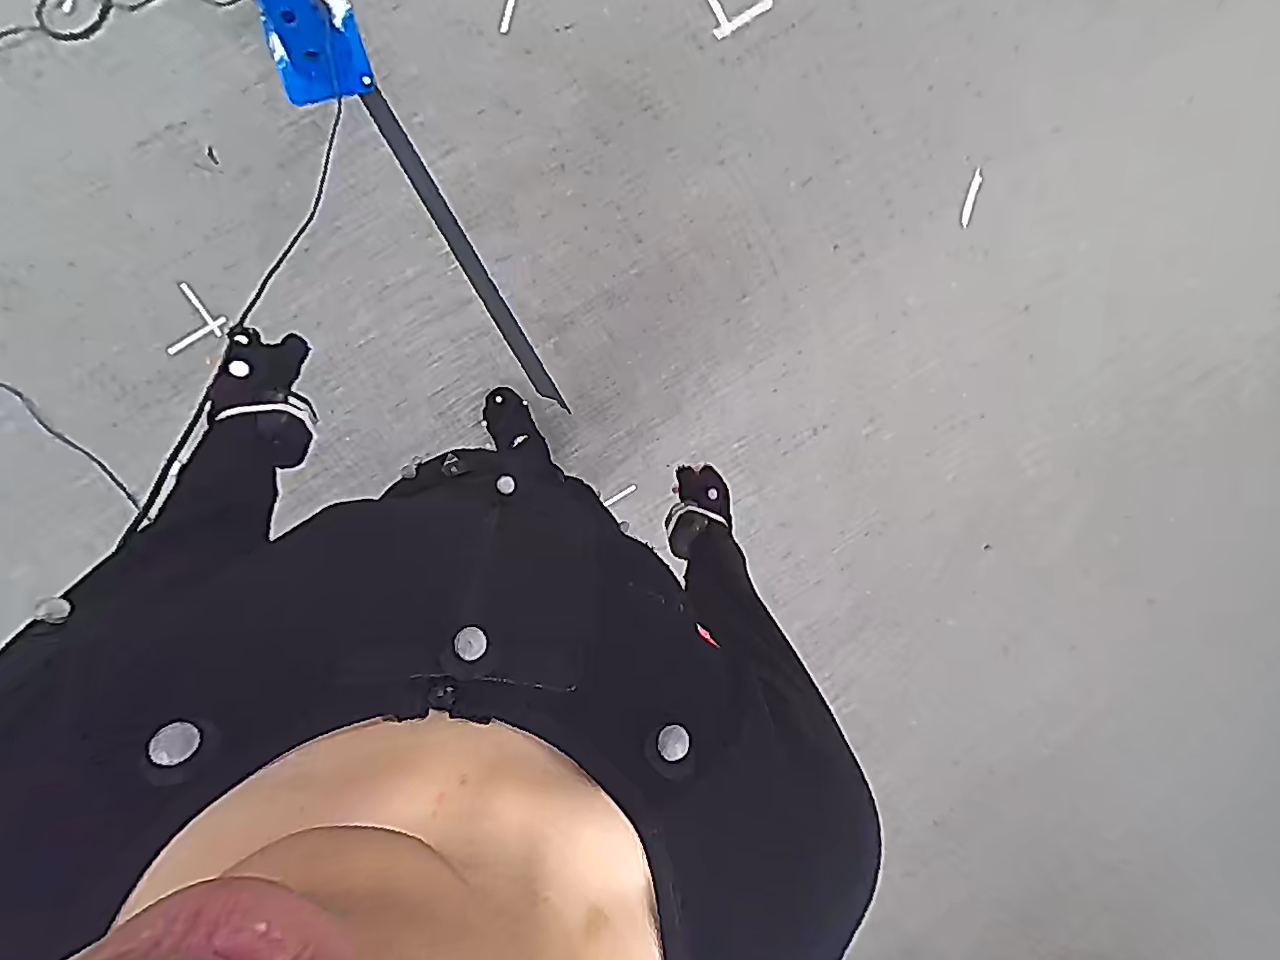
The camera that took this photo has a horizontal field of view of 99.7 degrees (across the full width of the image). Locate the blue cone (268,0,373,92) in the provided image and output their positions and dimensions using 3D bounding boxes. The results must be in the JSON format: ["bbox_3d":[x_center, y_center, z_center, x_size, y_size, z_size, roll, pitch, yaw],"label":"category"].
[{"bbox_3d":[-0.701,-0.970,1.070,0.192,0.380,0.193,-15,100,-8],"label":"blue cone"}]
